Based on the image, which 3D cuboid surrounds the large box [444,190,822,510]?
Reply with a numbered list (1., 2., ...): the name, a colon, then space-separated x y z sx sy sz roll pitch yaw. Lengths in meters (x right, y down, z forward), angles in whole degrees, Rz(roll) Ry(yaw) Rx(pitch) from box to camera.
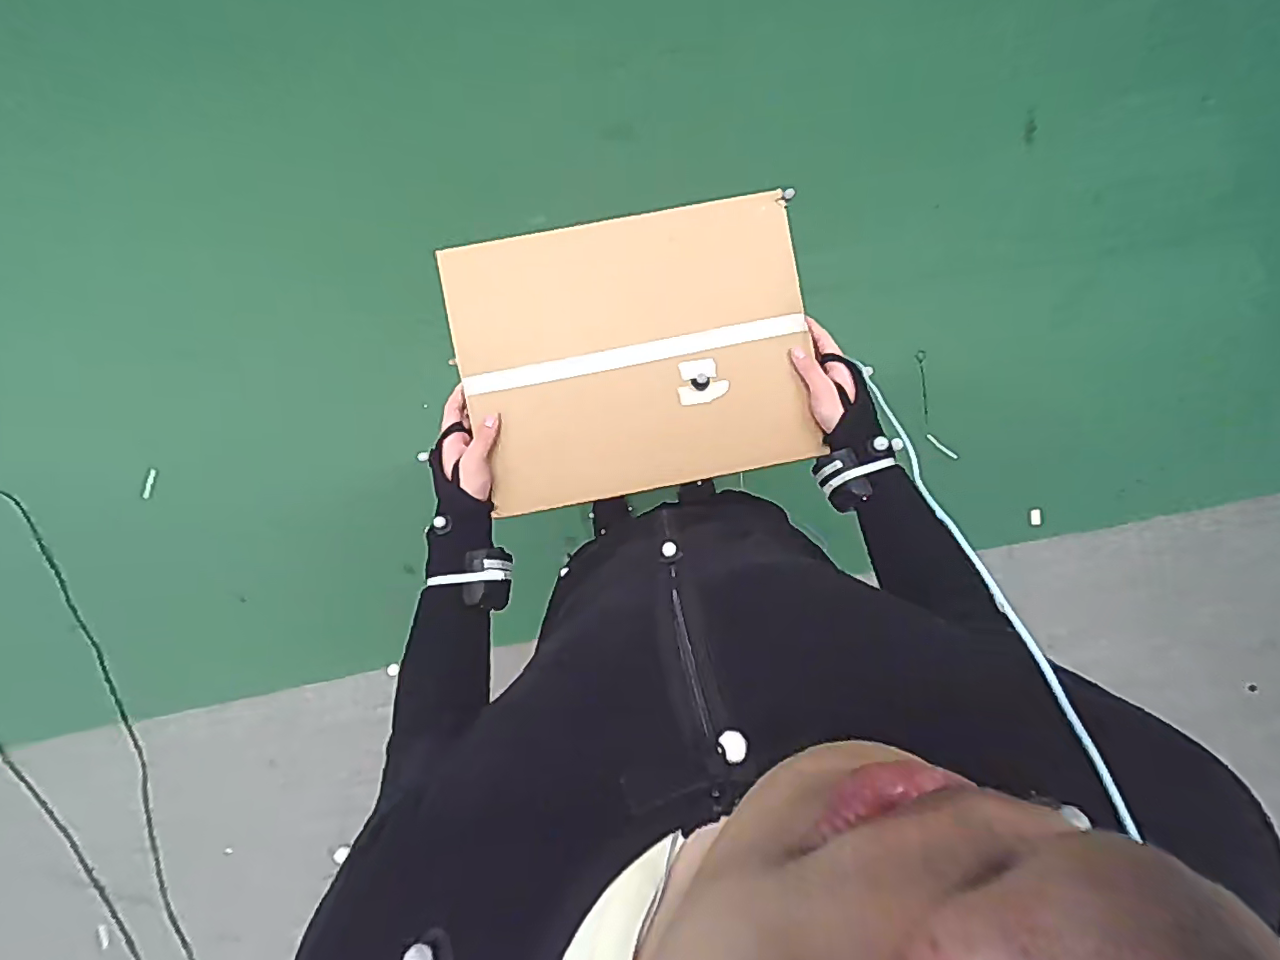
1. large box: -0.012 -0.155 0.782 0.408 0.320 0.320 -11 92 -3
